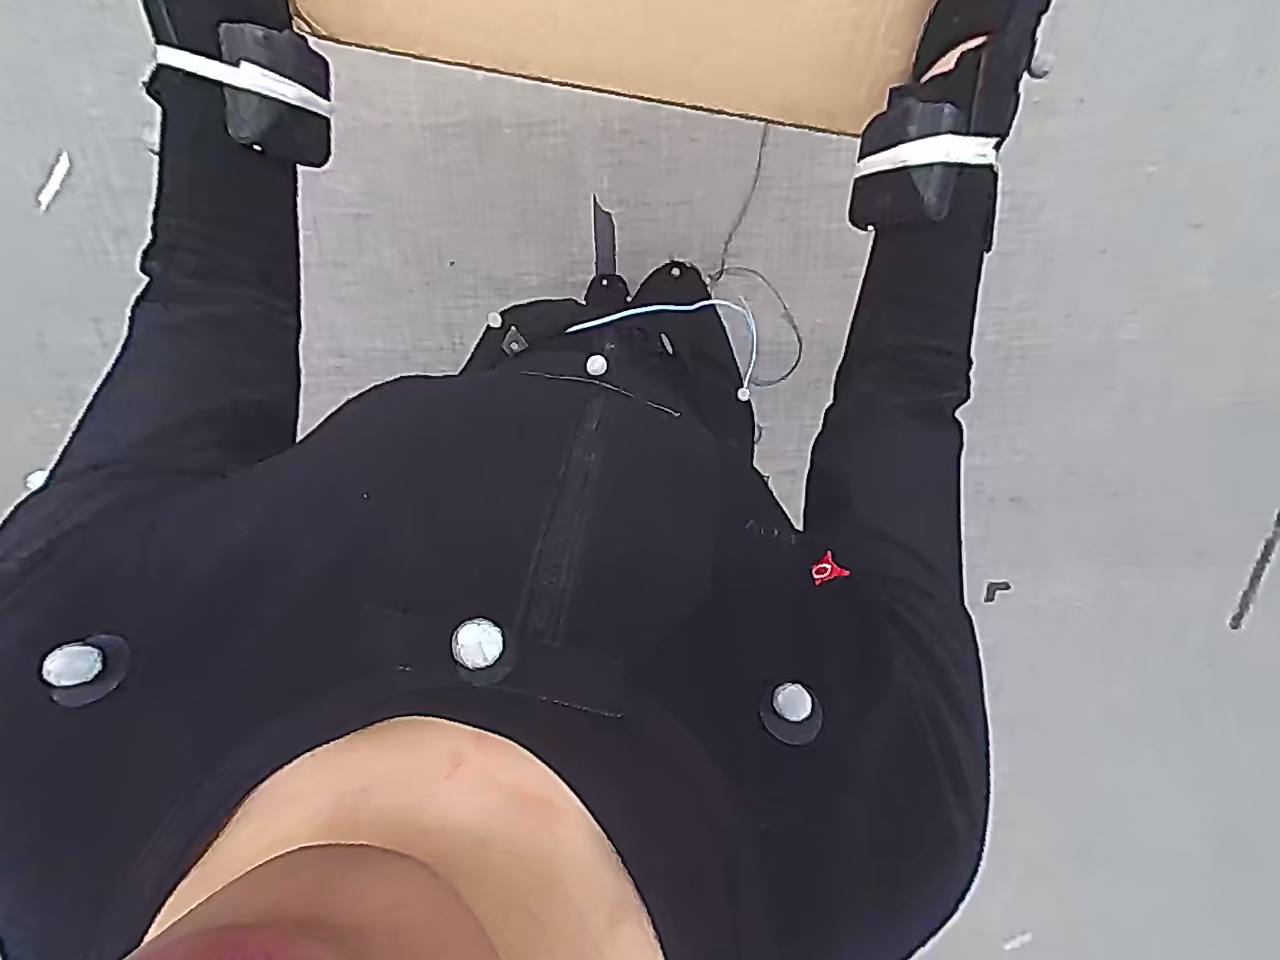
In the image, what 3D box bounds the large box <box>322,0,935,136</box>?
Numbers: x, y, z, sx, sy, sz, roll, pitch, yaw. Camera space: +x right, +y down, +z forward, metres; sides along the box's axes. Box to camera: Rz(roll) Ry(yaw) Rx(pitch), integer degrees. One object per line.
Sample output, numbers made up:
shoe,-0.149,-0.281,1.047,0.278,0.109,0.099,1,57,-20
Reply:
large box,0.005,-0.482,0.408,0.408,0.320,0.320,7,128,-6
